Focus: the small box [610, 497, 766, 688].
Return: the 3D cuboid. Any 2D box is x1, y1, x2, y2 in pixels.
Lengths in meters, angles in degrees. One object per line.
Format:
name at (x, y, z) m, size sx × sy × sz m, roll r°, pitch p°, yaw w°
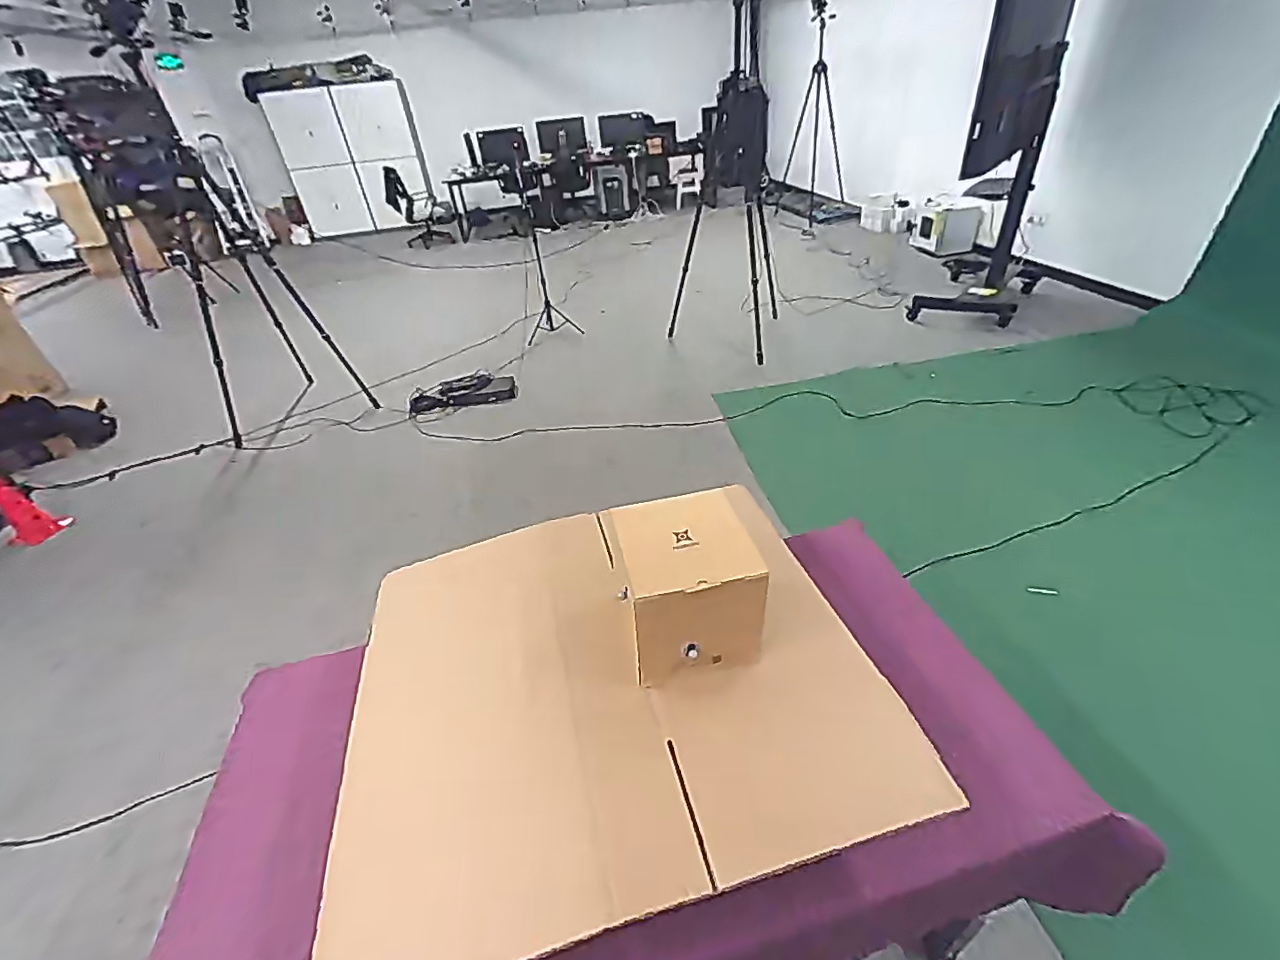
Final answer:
small box at (0.057, 0.150, 0.743) m, size 0.168 × 0.176 × 0.179 m, roll -10°, pitch 37°, yaw -8°
